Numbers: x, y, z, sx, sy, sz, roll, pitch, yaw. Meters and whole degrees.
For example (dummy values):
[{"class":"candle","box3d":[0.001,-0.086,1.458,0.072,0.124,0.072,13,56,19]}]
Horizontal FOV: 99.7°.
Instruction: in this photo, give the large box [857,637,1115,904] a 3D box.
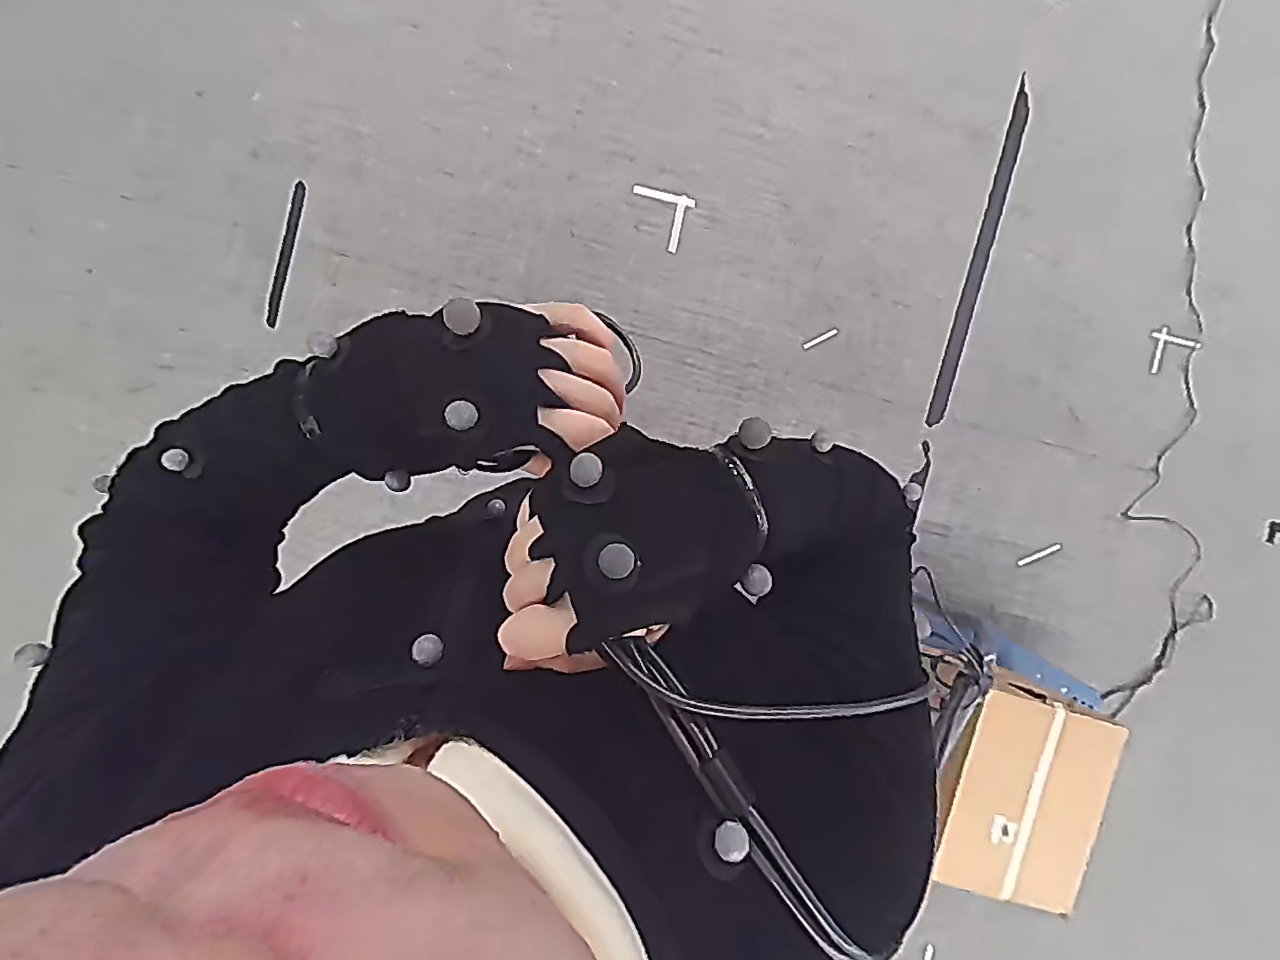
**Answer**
[{"class":"large box","box3d":[0.758,0.630,1.238,0.320,0.320,0.408,17,91,-3]}]
